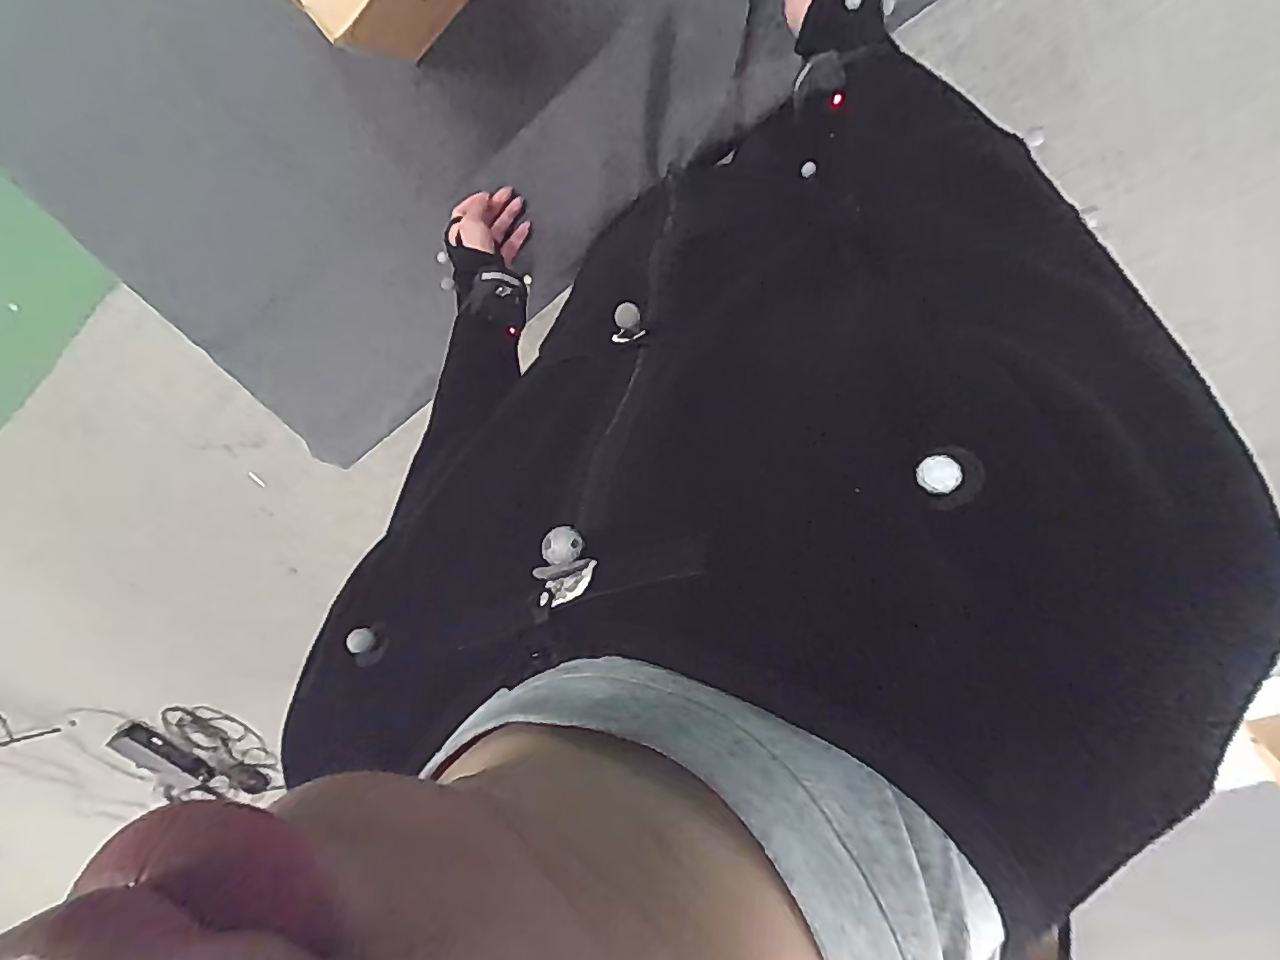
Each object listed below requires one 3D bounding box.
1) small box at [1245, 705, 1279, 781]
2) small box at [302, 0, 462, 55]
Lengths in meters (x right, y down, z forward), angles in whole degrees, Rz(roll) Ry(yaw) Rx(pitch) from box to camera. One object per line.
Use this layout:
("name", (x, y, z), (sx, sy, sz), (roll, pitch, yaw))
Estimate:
("small box", (1.486, 0.599, 1.176), (0.179, 0.176, 0.168), (-31, 115, 22))
("small box", (-0.234, -0.513, 0.464), (0.179, 0.176, 0.168), (-32, 116, 21))
